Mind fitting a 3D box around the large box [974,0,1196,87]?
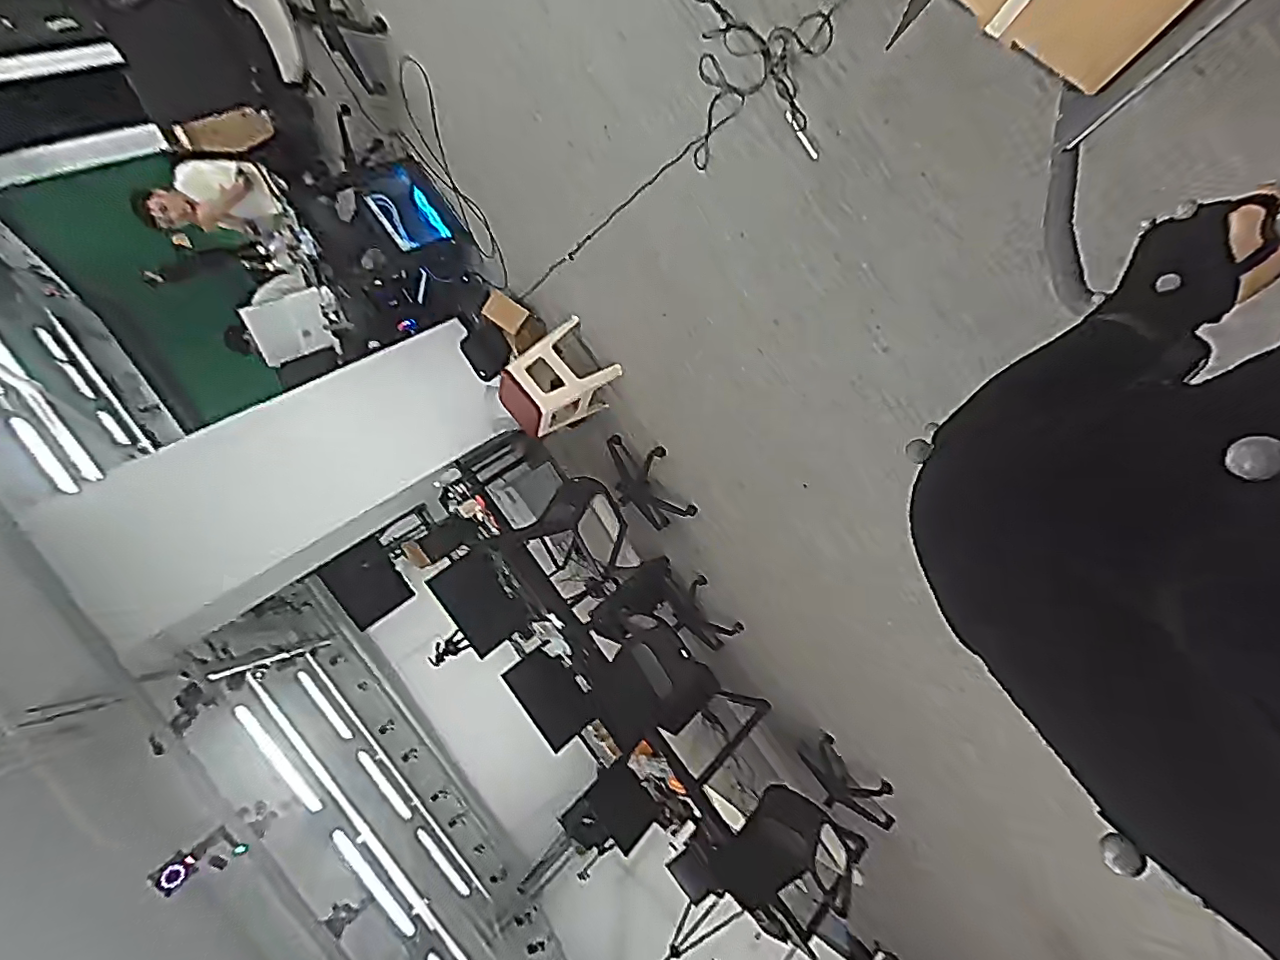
[{"bbox_3d":[0.585,-0.763,0.579,0.320,0.320,0.408,33,152,-2],"label":"large box"}]
